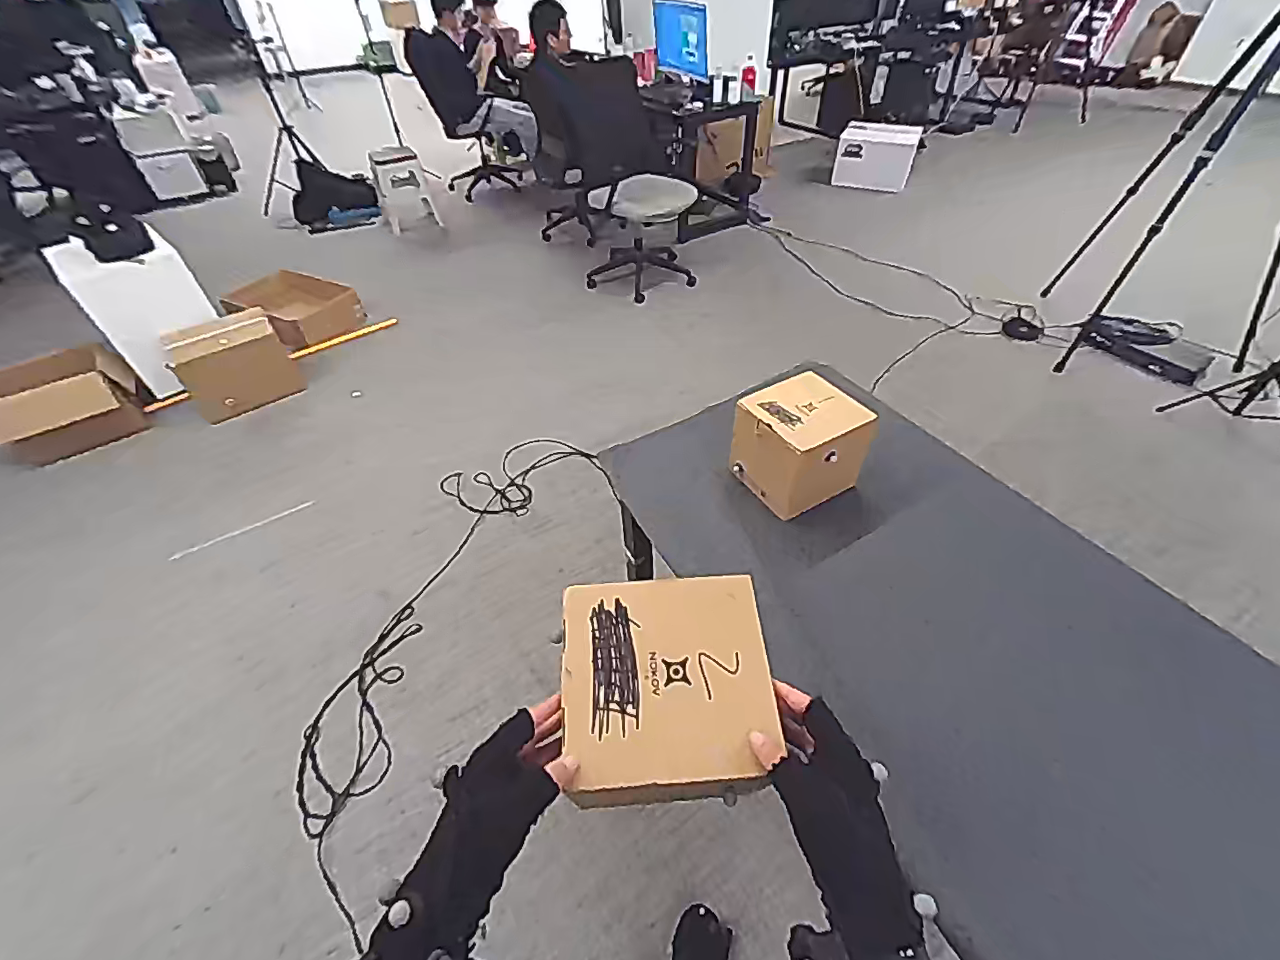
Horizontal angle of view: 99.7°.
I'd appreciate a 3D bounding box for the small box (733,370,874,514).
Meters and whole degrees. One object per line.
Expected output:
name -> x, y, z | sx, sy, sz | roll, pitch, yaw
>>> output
small box -> 0.284, -0.067, 0.982 | 0.179, 0.176, 0.168 | -23, 49, -20
